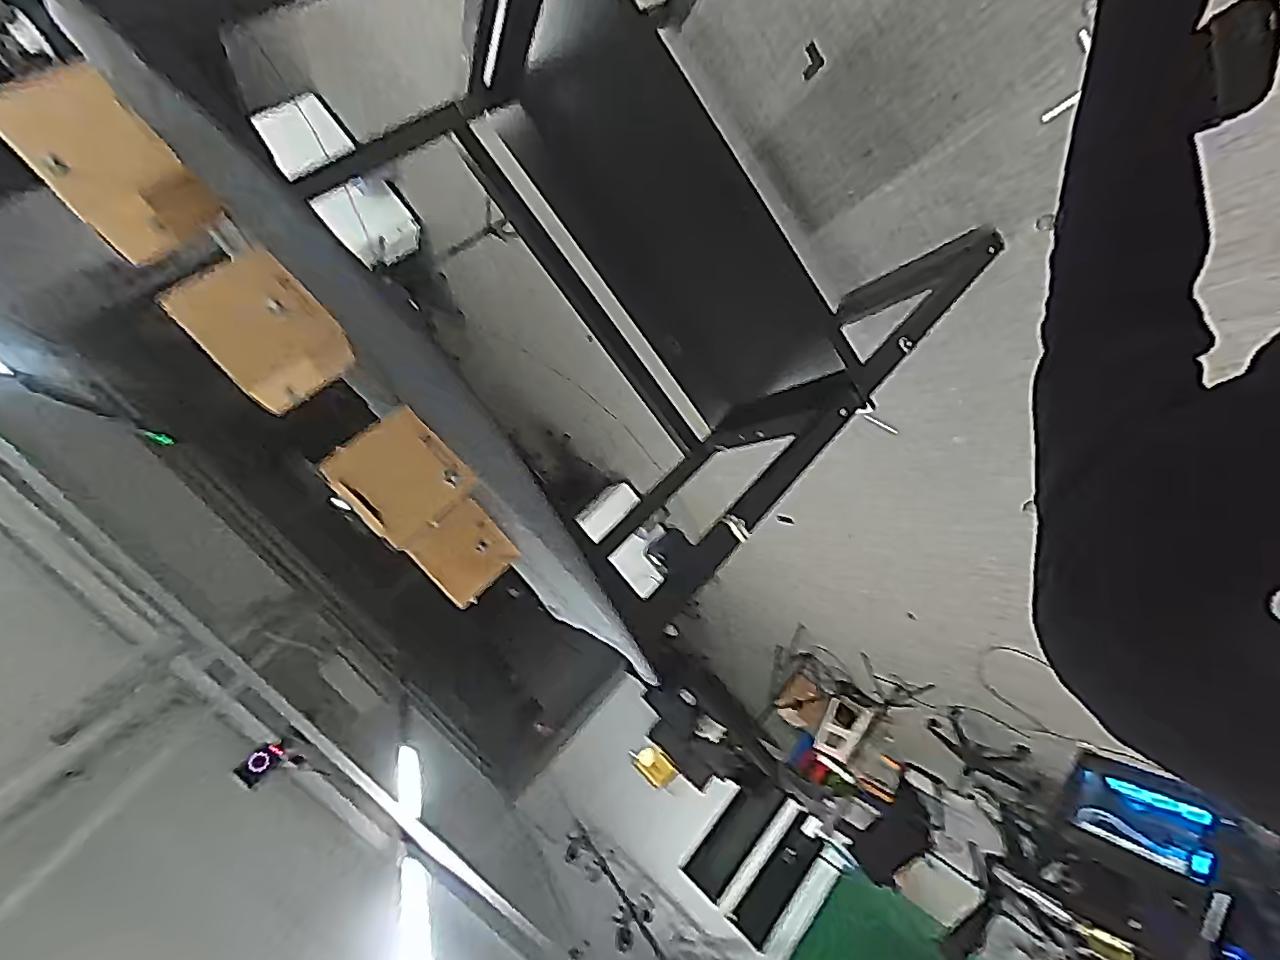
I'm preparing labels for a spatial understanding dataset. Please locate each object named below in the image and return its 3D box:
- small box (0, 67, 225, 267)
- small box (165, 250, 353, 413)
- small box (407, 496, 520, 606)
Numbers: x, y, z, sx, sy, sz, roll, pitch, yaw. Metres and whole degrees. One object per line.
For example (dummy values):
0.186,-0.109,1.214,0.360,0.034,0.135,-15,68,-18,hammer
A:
-0.782,-0.464,0.818,0.168,0.176,0.179,51,160,-14,small box
-0.599,-0.236,0.884,0.168,0.176,0.179,51,160,-13,small box
-0.389,0.152,1.196,0.168,0.176,0.179,51,158,-11,small box
